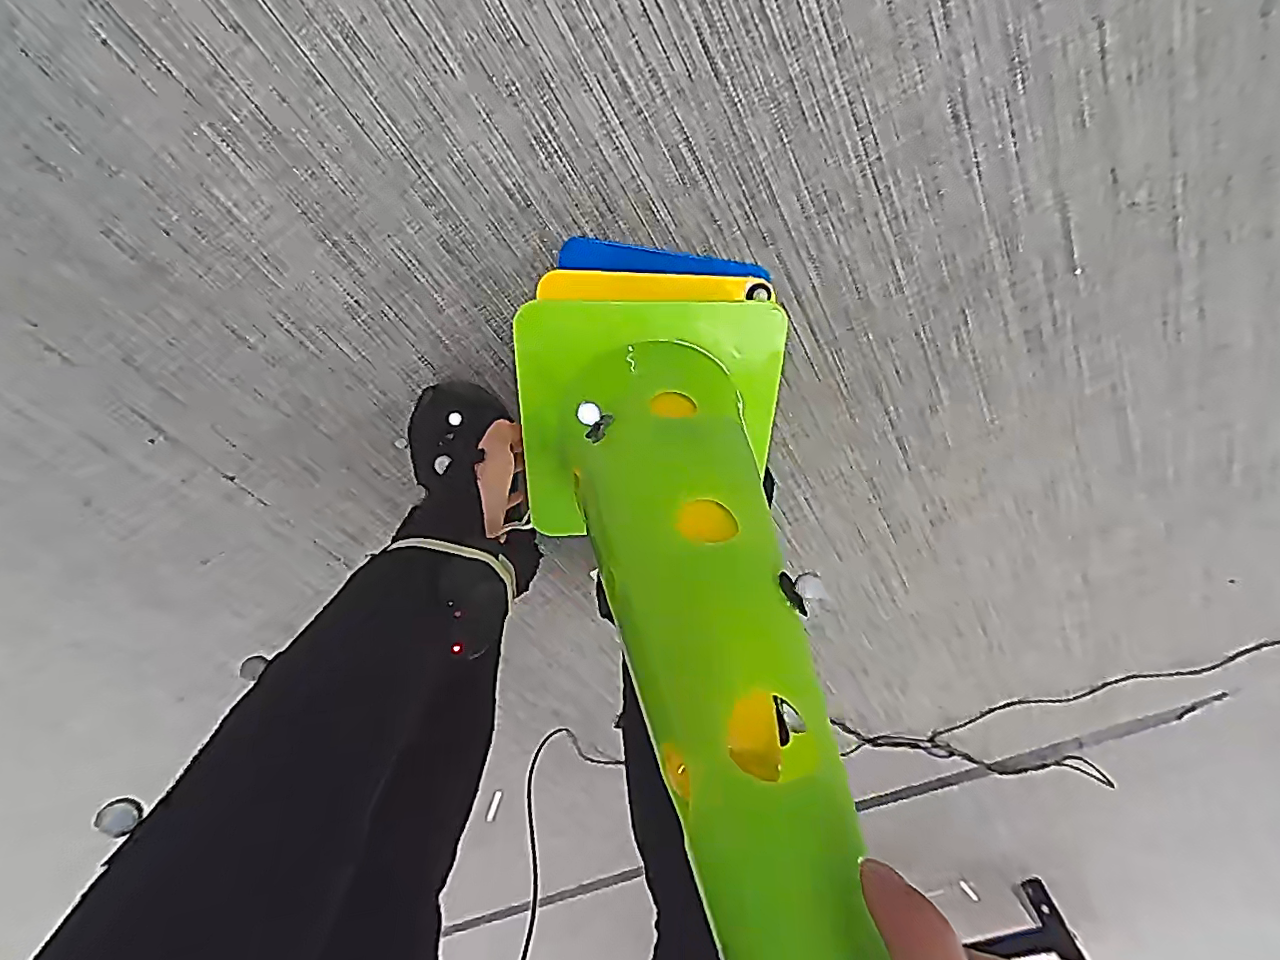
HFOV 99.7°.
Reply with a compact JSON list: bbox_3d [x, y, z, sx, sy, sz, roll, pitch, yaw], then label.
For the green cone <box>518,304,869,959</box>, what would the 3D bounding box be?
[{"bbox_3d":[0.030,0.050,0.276,0.202,0.368,0.200,-2,120,-5],"label":"green cone"}]
